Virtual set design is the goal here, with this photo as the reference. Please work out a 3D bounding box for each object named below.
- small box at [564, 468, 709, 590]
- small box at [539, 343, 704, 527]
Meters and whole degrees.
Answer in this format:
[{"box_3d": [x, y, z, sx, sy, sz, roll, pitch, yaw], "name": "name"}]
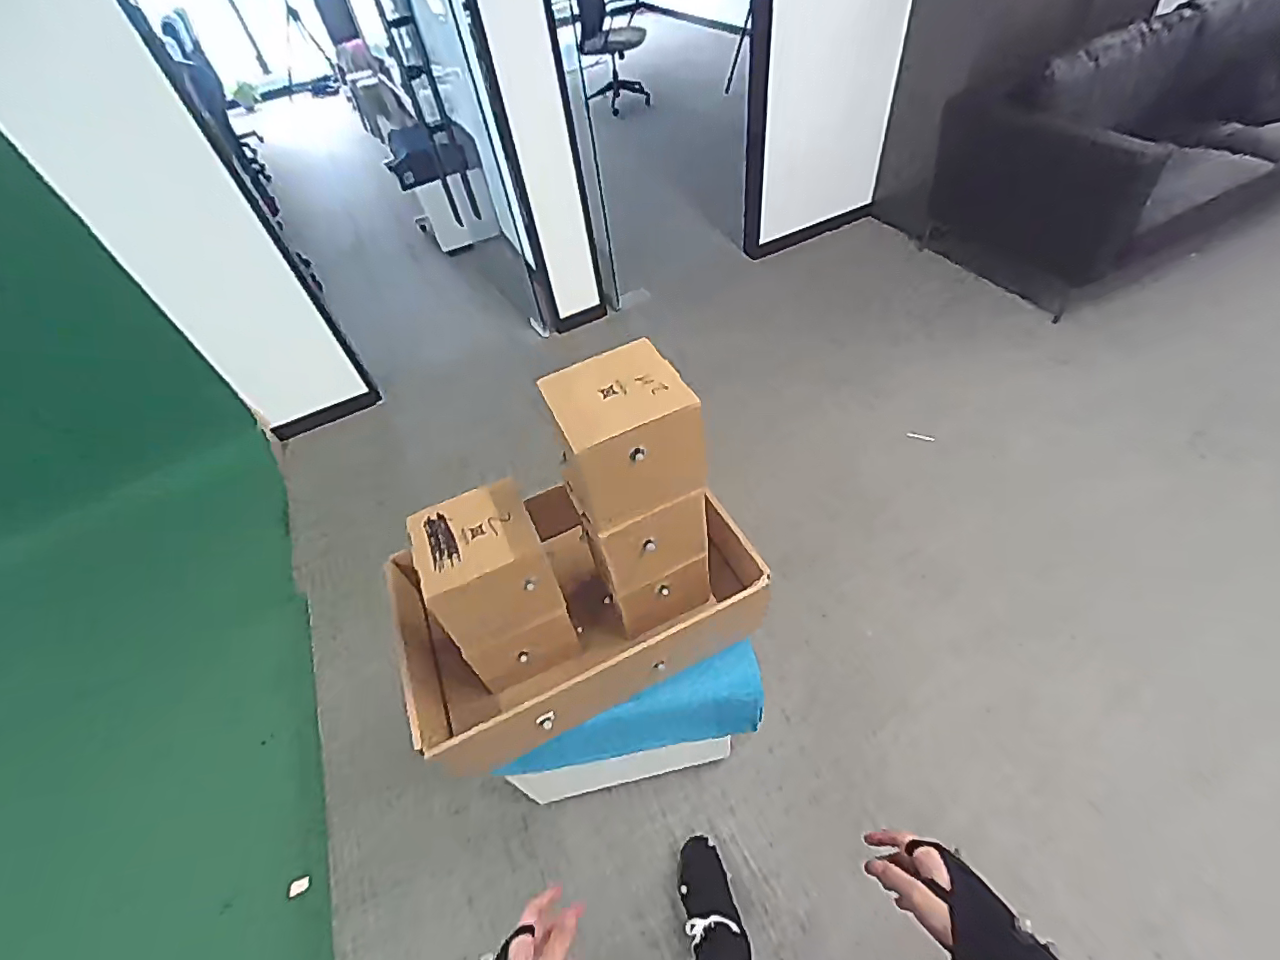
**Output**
[{"box_3d": [-0.001, 0.052, 0.896, 0.179, 0.176, 0.168, -26, 50, -10], "name": "small box"}, {"box_3d": [-0.021, -0.061, 0.777, 0.179, 0.176, 0.168, -24, 50, -10], "name": "small box"}]
